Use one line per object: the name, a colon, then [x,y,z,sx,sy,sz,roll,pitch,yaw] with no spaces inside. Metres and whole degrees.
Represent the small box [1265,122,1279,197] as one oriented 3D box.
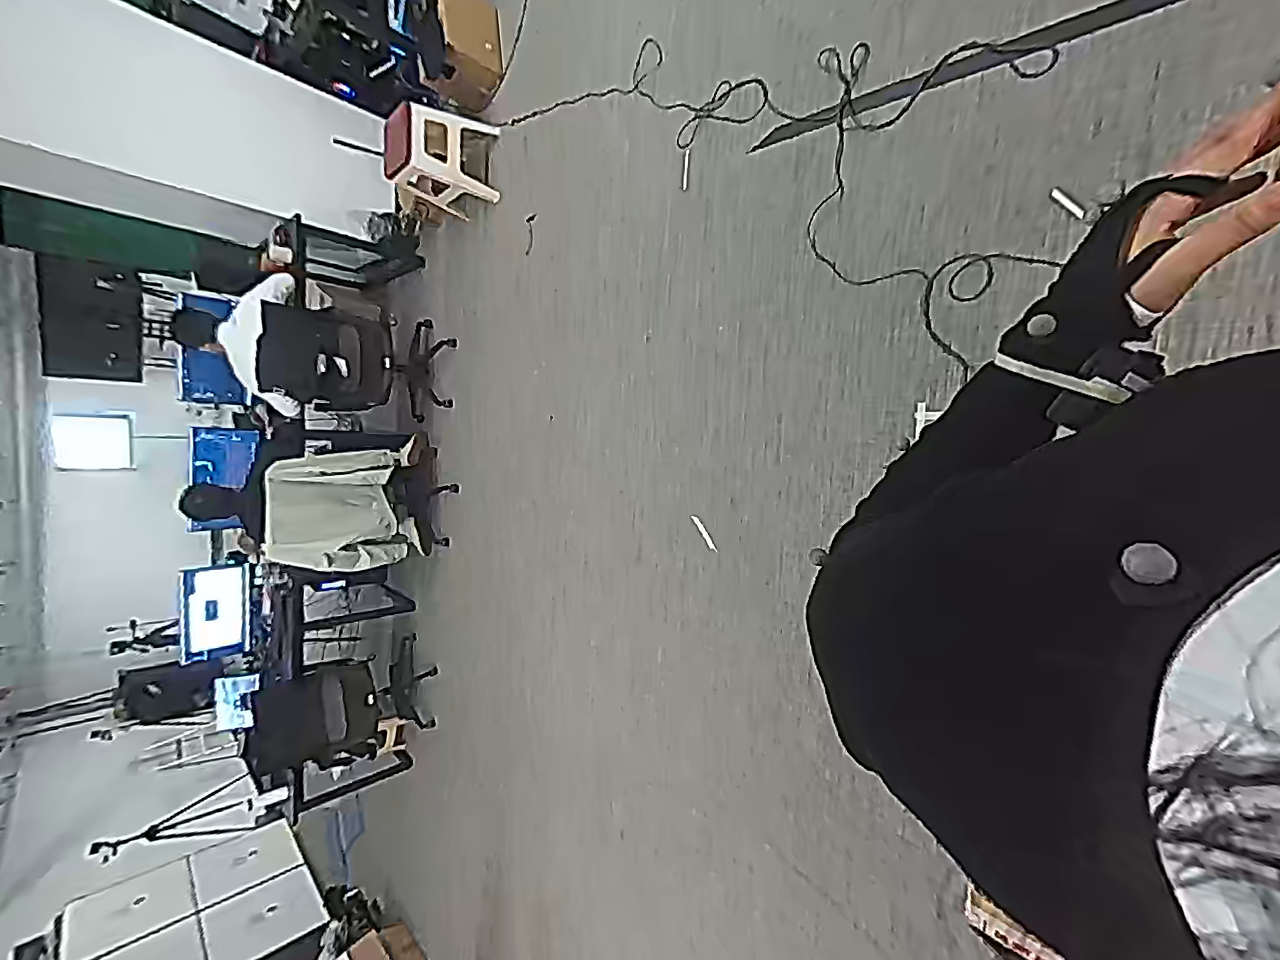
small box: [0.442,-0.241,0.256,0.168,0.176,0.179,14,114,44]
